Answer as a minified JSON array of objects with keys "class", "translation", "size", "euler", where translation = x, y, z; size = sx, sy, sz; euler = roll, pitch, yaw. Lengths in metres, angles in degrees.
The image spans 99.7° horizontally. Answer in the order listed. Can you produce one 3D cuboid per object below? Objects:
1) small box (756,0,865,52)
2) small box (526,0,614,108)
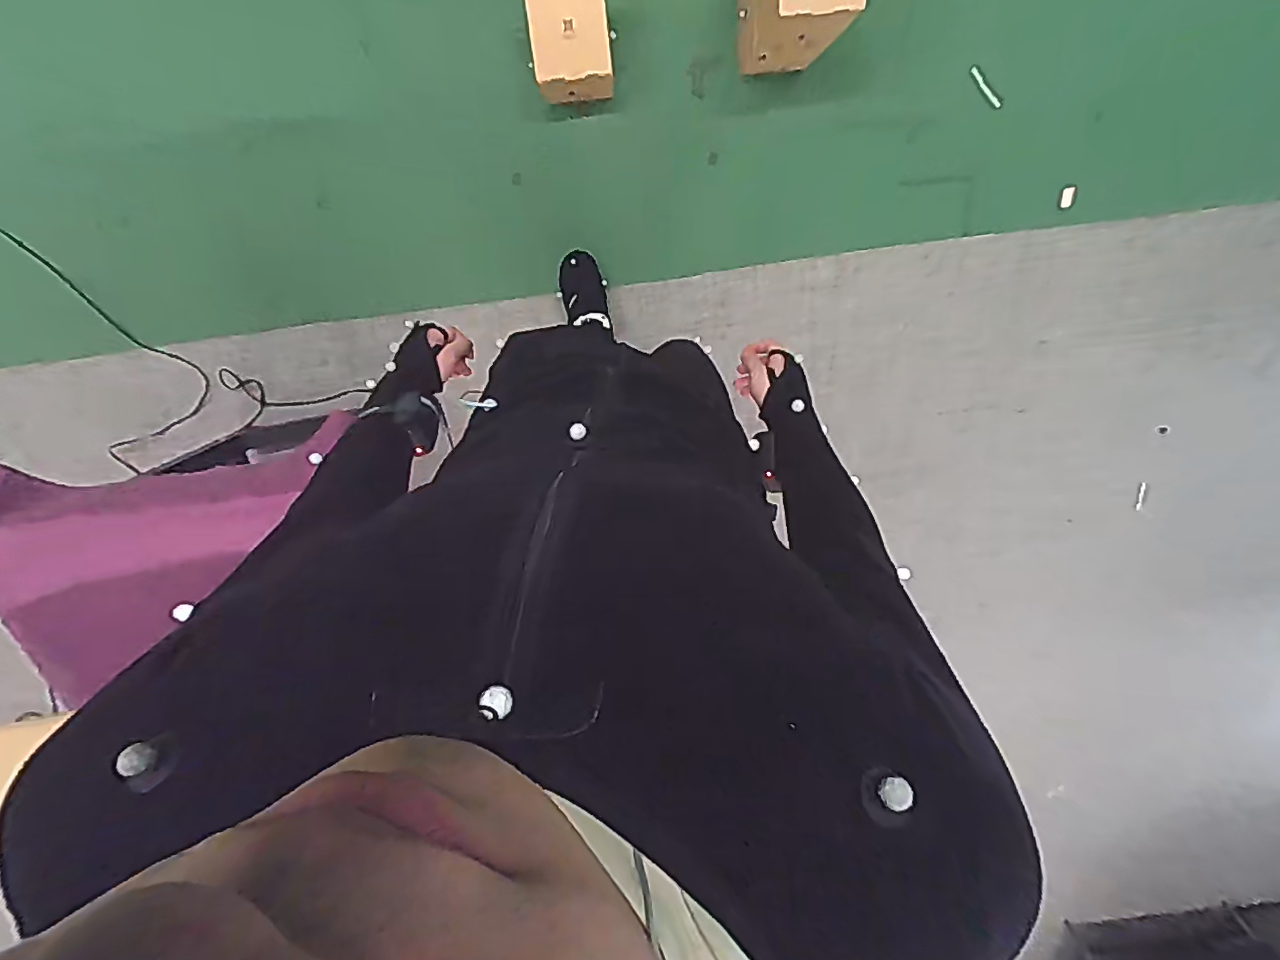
[{"class":"small box","translation":[0.325,-0.971,1.048],"size":[0.168,0.176,0.179],"euler":[-6,112,-1]},{"class":"small box","translation":[-0.152,-0.960,1.203],"size":[0.168,0.176,0.179],"euler":[-8,112,0]}]
